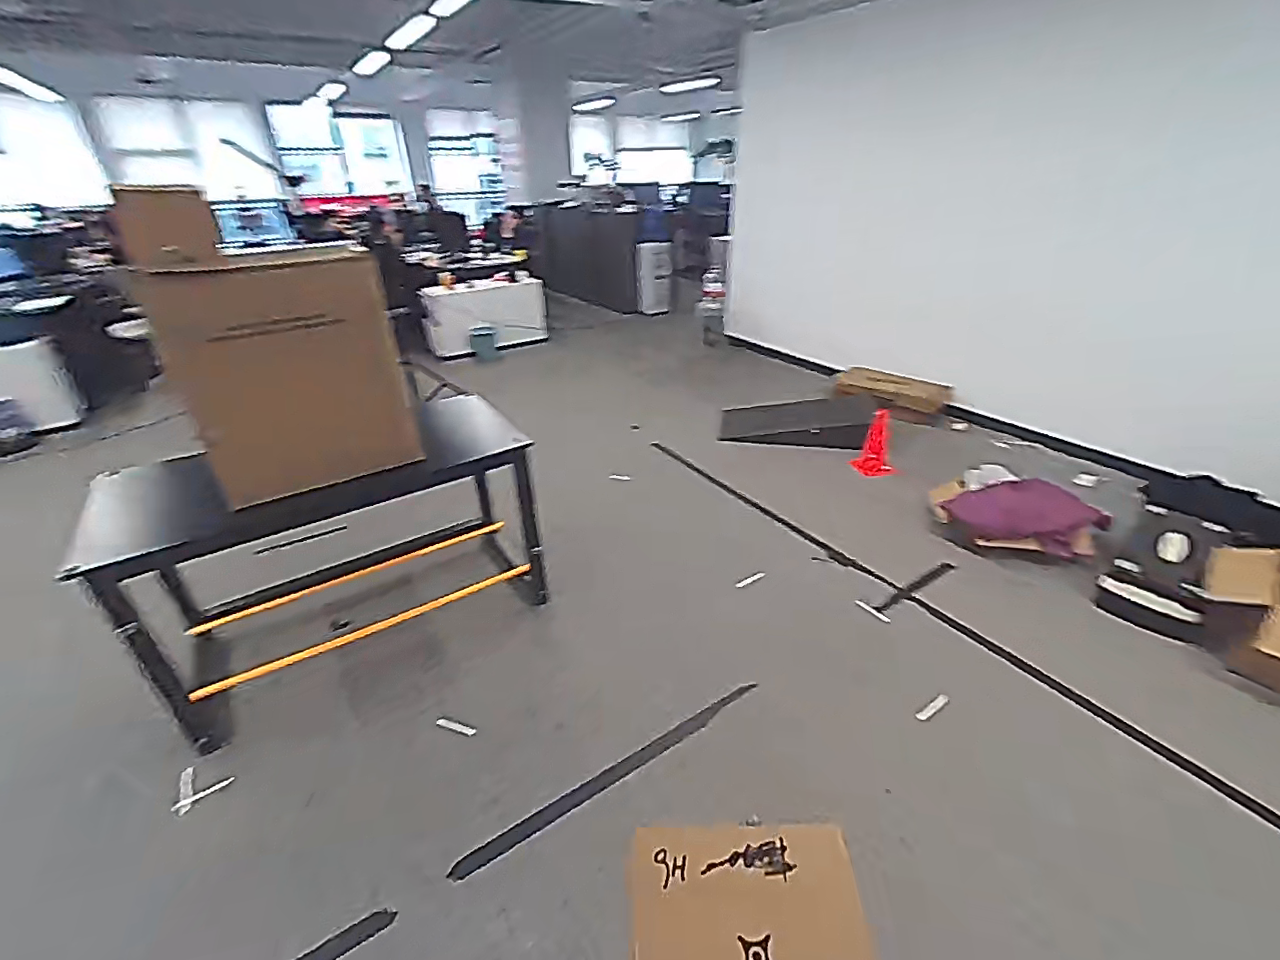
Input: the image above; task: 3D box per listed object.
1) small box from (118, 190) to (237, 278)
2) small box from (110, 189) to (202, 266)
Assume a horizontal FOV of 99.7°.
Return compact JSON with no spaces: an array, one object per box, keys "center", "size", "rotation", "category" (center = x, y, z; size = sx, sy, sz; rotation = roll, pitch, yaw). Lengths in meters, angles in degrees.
[{"center":[-1.067,-0.571,1.253],"size":[0.168,0.176,0.179],"rotation":[-21,39,-33],"category":"small box"},{"center":[-1.192,-0.645,1.380],"size":[0.168,0.176,0.179],"rotation":[-18,33,-26],"category":"small box"}]
